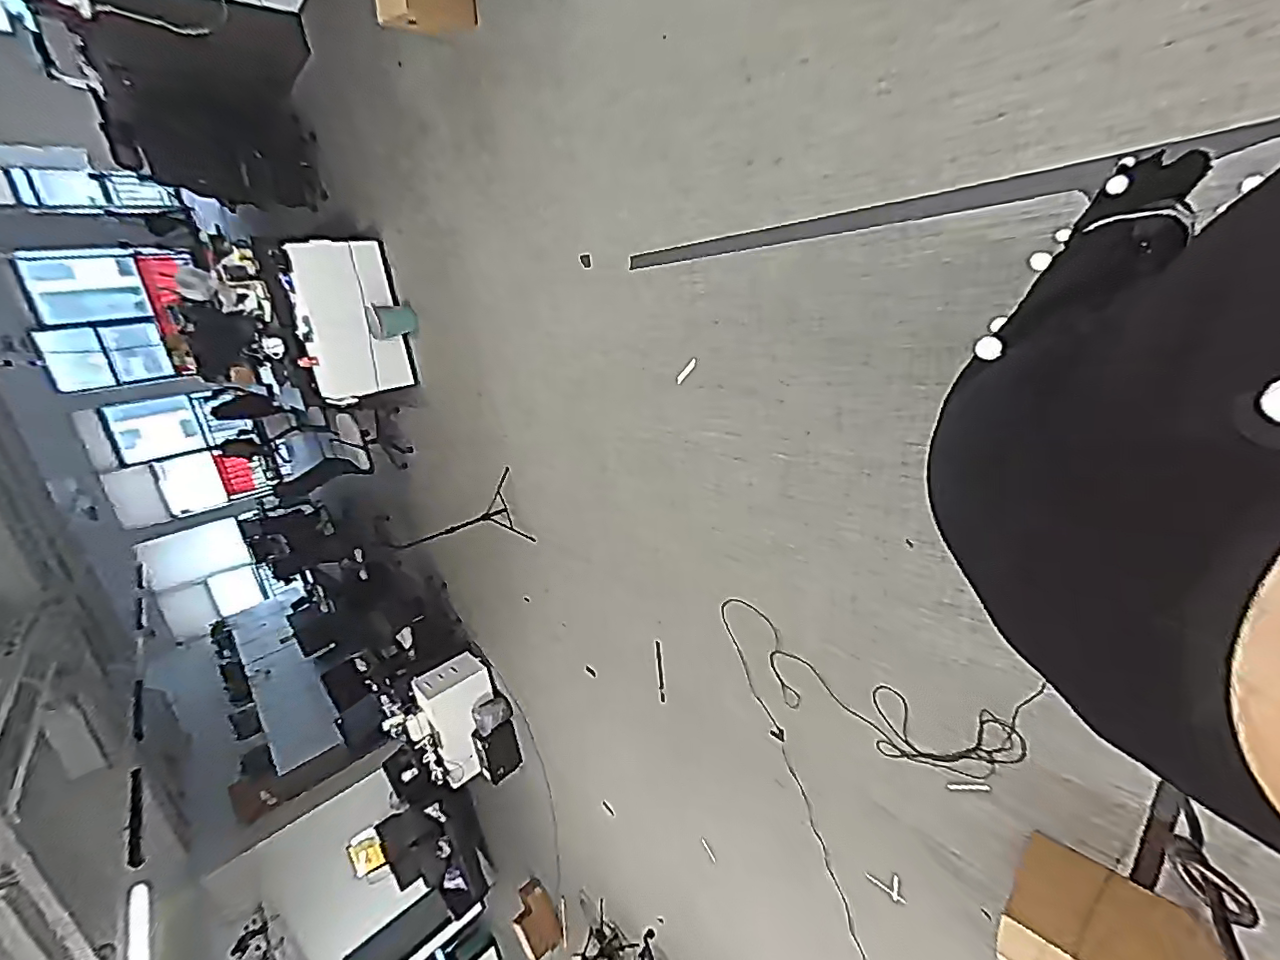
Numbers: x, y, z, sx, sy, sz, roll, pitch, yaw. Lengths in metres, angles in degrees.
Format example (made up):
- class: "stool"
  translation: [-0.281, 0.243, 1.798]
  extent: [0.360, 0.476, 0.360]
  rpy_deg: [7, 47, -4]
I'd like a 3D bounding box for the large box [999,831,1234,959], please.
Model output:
- class: "large box"
  translation: [1.215, 1.239, 1.403]
  extent: [0.408, 0.320, 0.320]
  rpy_deg: [13, 117, 47]
